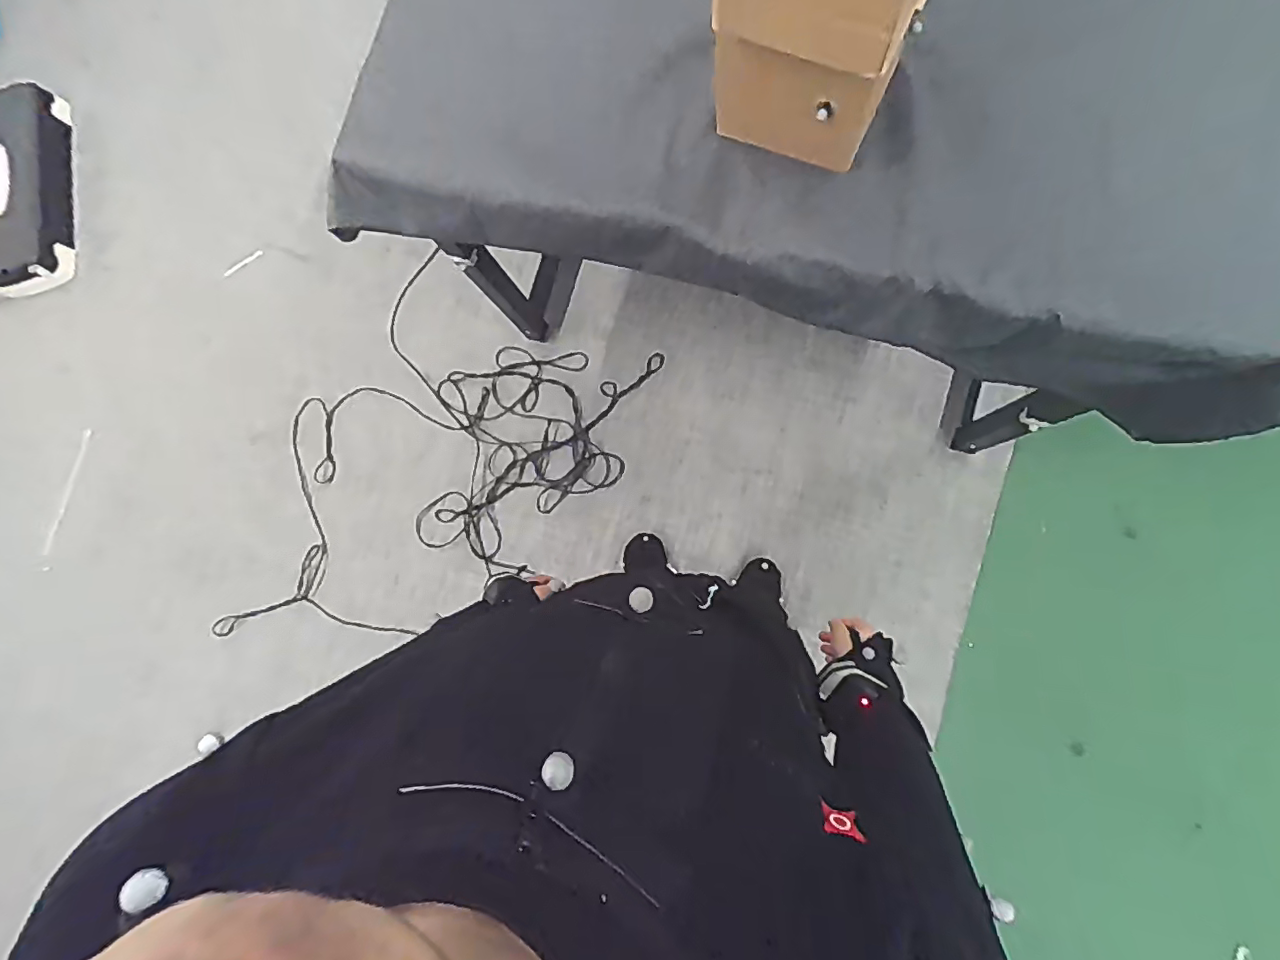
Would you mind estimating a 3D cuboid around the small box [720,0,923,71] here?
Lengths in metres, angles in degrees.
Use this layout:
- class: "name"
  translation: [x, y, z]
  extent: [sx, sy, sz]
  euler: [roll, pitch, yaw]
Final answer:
- class: "small box"
  translation: [0.174, -0.490, 0.445]
  extent: [0.179, 0.176, 0.168]
  euler: [26, 87, 10]

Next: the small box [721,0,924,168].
- class: "small box"
  translation: [0.203, -0.491, 0.606]
  extent: [0.179, 0.176, 0.168]
  euler: [24, 86, 11]
